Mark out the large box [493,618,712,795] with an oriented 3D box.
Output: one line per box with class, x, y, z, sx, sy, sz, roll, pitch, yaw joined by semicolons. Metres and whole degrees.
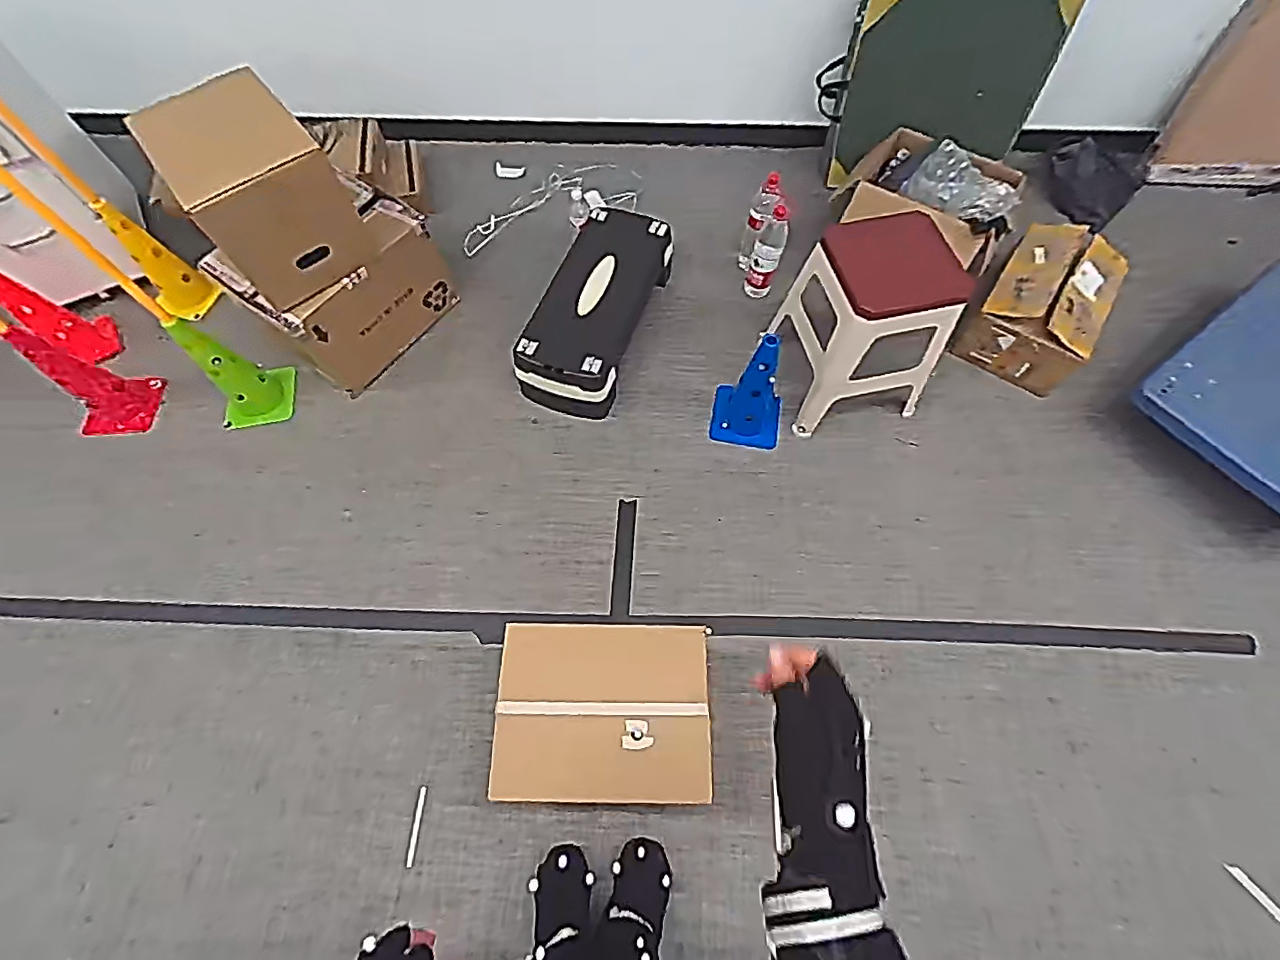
large box;-0.073;0.487;1.169;0.408;0.320;0.320;1;66;-1
